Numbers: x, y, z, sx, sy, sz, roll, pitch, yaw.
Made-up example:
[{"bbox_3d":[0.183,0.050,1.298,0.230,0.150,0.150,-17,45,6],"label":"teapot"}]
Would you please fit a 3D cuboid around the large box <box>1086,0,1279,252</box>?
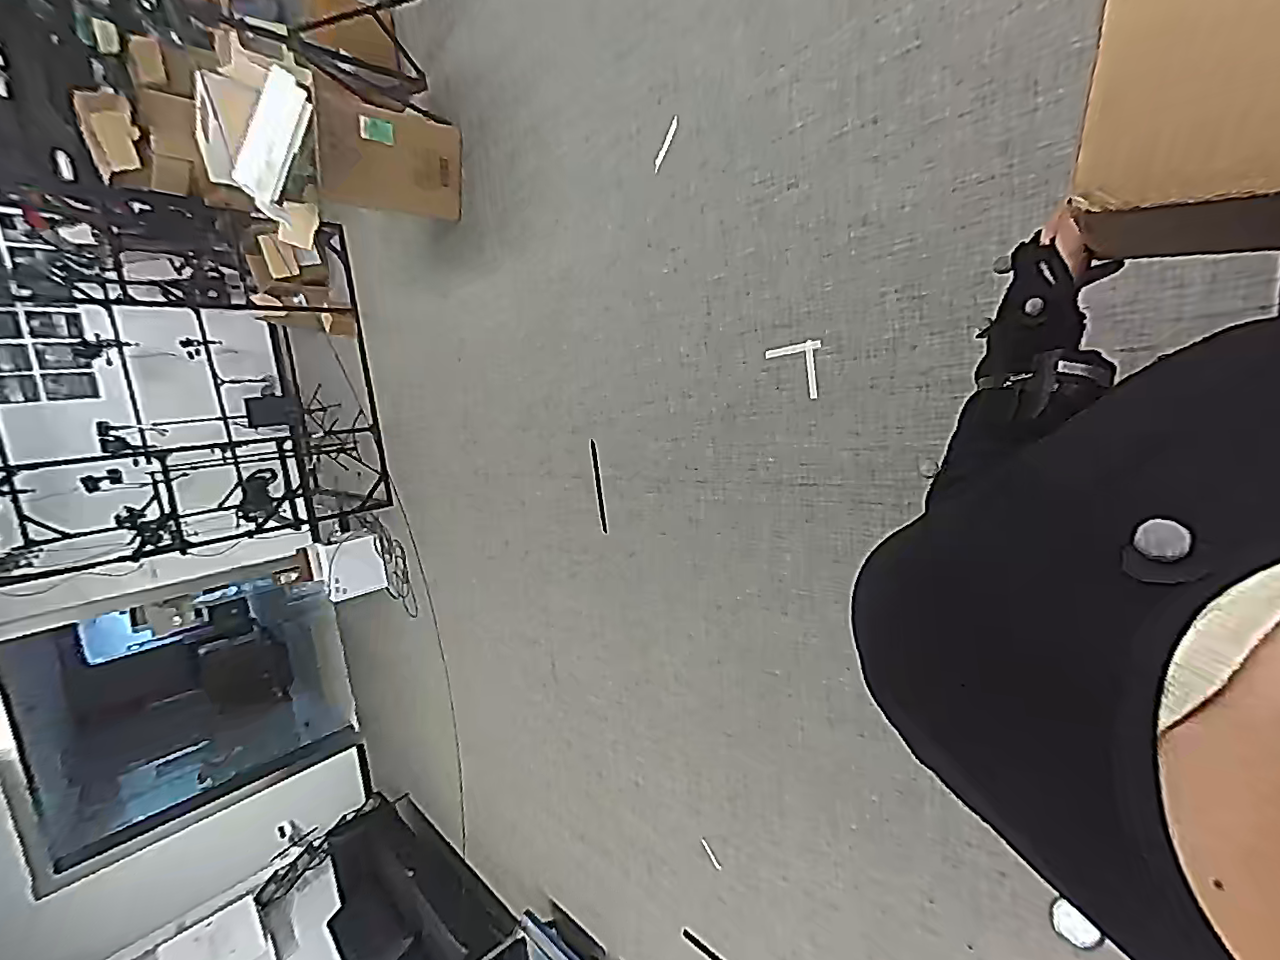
[{"bbox_3d":[0.454,-0.288,0.209,0.408,0.320,0.320,12,111,38],"label":"large box"}]
